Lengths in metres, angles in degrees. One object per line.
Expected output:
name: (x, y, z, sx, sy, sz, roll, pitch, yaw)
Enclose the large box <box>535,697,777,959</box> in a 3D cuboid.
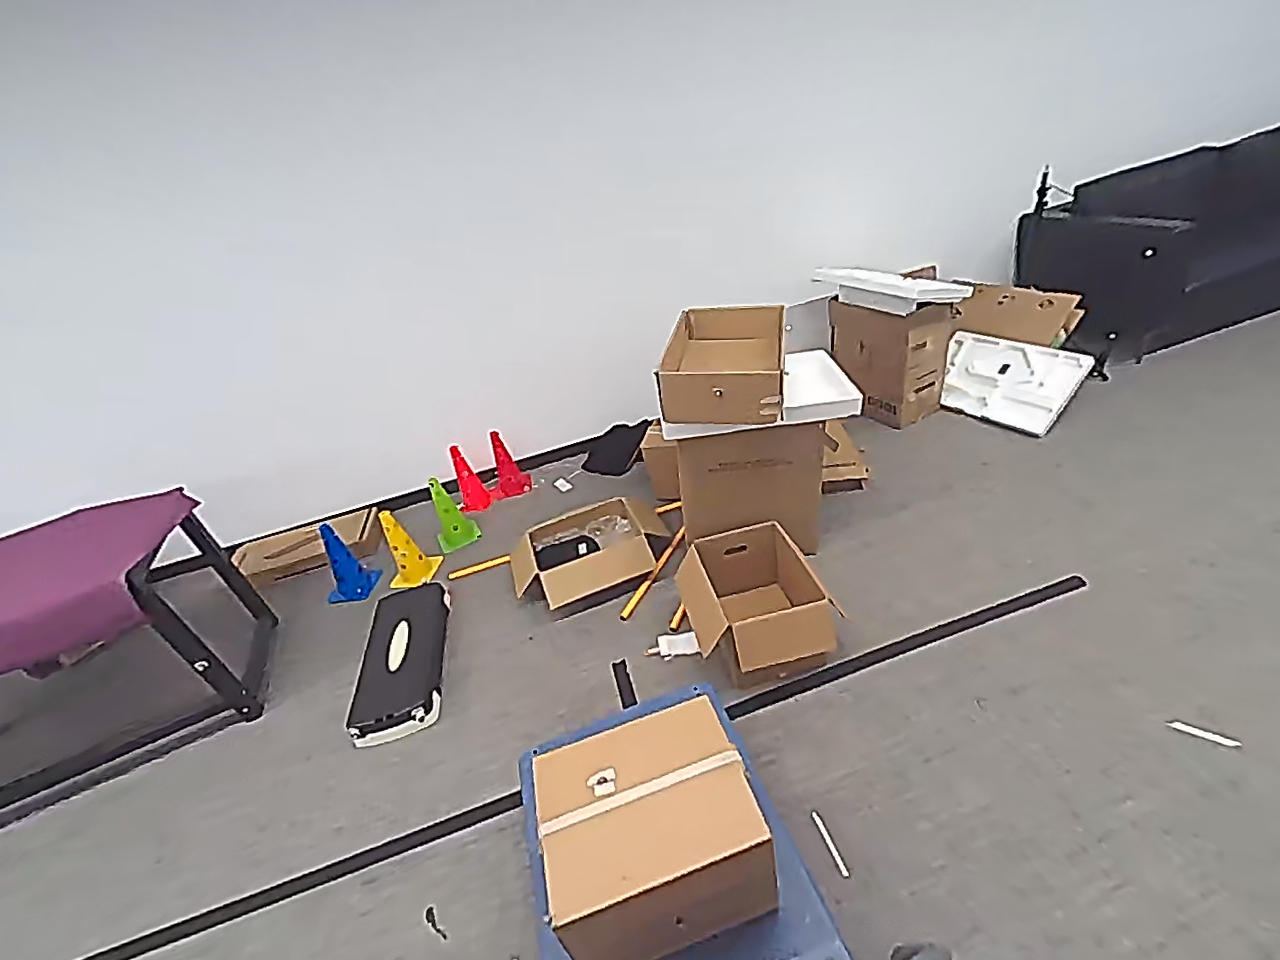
large box: (0.032, 0.742, 1.141, 0.408, 0.320, 0.320, -18, 32, -7)
